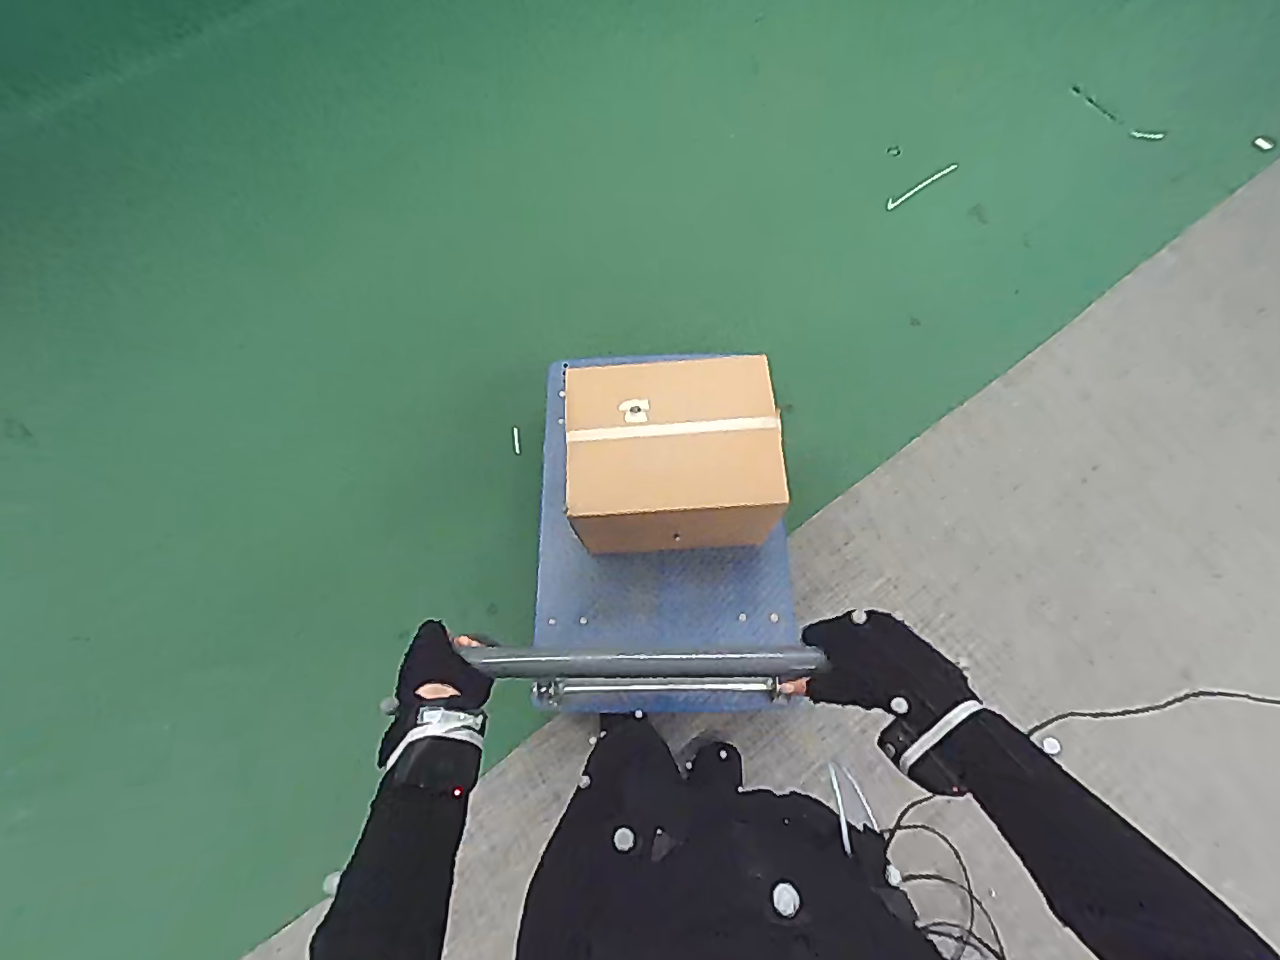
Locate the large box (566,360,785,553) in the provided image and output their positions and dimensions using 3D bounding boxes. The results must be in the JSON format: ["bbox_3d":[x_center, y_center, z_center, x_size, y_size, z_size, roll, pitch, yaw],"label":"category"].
[{"bbox_3d":[0.068,-0.031,1.178,0.408,0.320,0.320,-4,69,2],"label":"large box"}]
